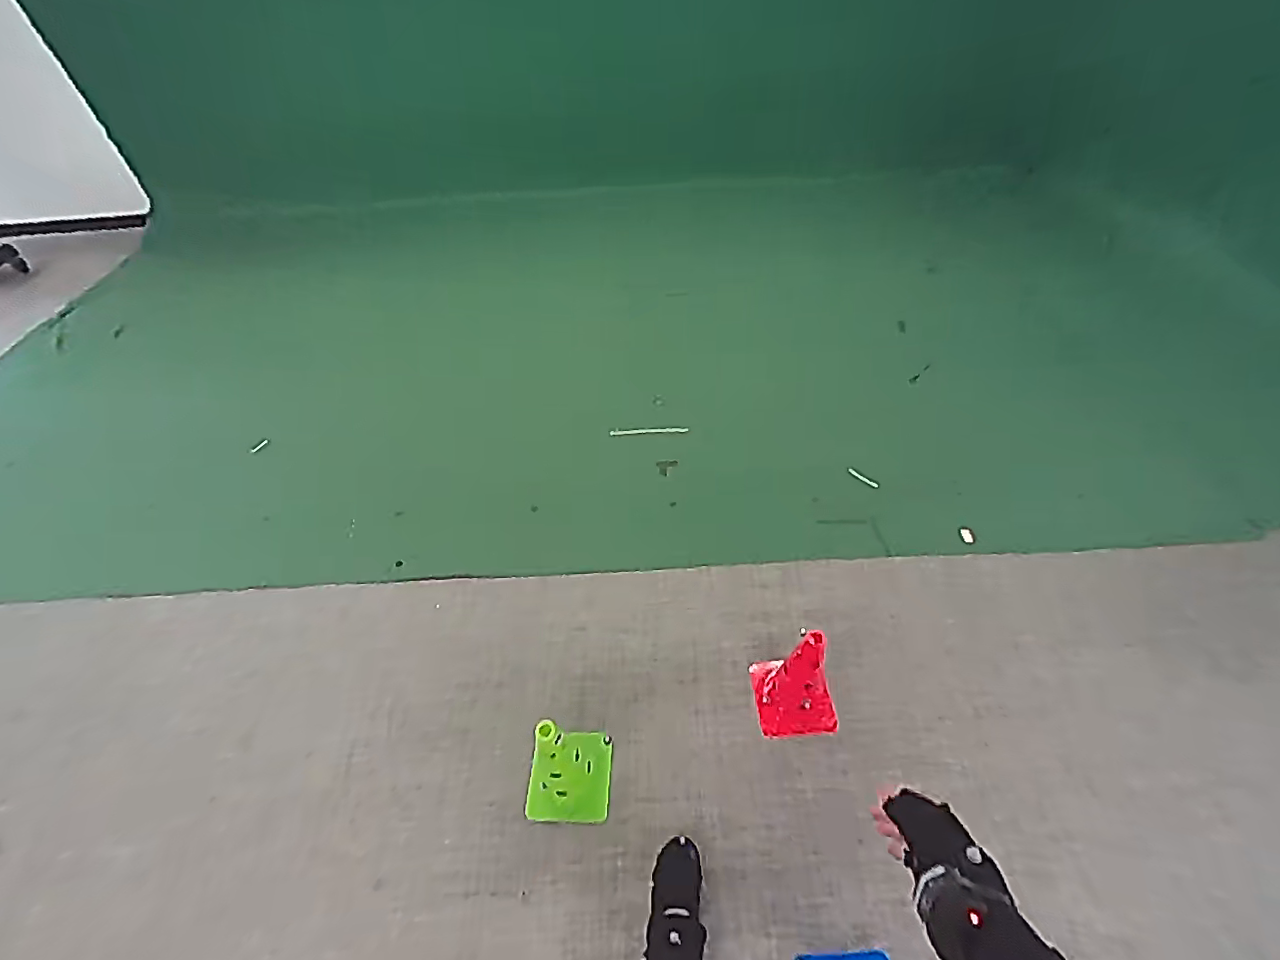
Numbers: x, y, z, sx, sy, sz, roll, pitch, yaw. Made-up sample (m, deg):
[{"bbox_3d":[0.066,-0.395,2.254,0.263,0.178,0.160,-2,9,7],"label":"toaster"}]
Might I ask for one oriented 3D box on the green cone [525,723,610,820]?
[{"bbox_3d":[-0.187,0.620,1.220,0.200,0.368,0.202,-2,49,3],"label":"green cone"}]
